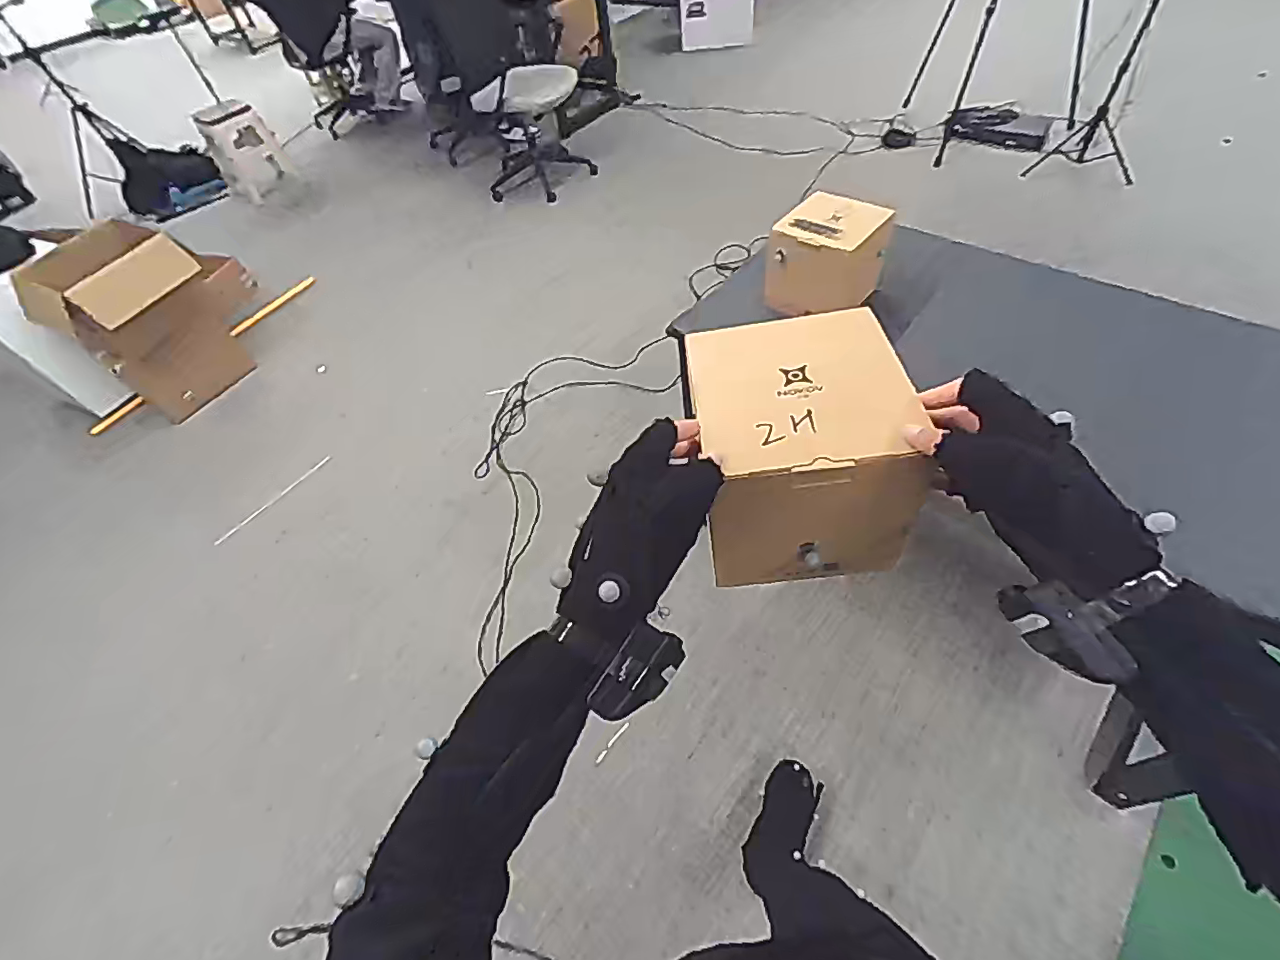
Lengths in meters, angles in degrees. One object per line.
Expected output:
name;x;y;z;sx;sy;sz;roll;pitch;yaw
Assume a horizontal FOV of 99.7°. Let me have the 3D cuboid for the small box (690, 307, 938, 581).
small box;0.138;-0.029;0.497;0.168;0.176;0.179;-7;51;6
